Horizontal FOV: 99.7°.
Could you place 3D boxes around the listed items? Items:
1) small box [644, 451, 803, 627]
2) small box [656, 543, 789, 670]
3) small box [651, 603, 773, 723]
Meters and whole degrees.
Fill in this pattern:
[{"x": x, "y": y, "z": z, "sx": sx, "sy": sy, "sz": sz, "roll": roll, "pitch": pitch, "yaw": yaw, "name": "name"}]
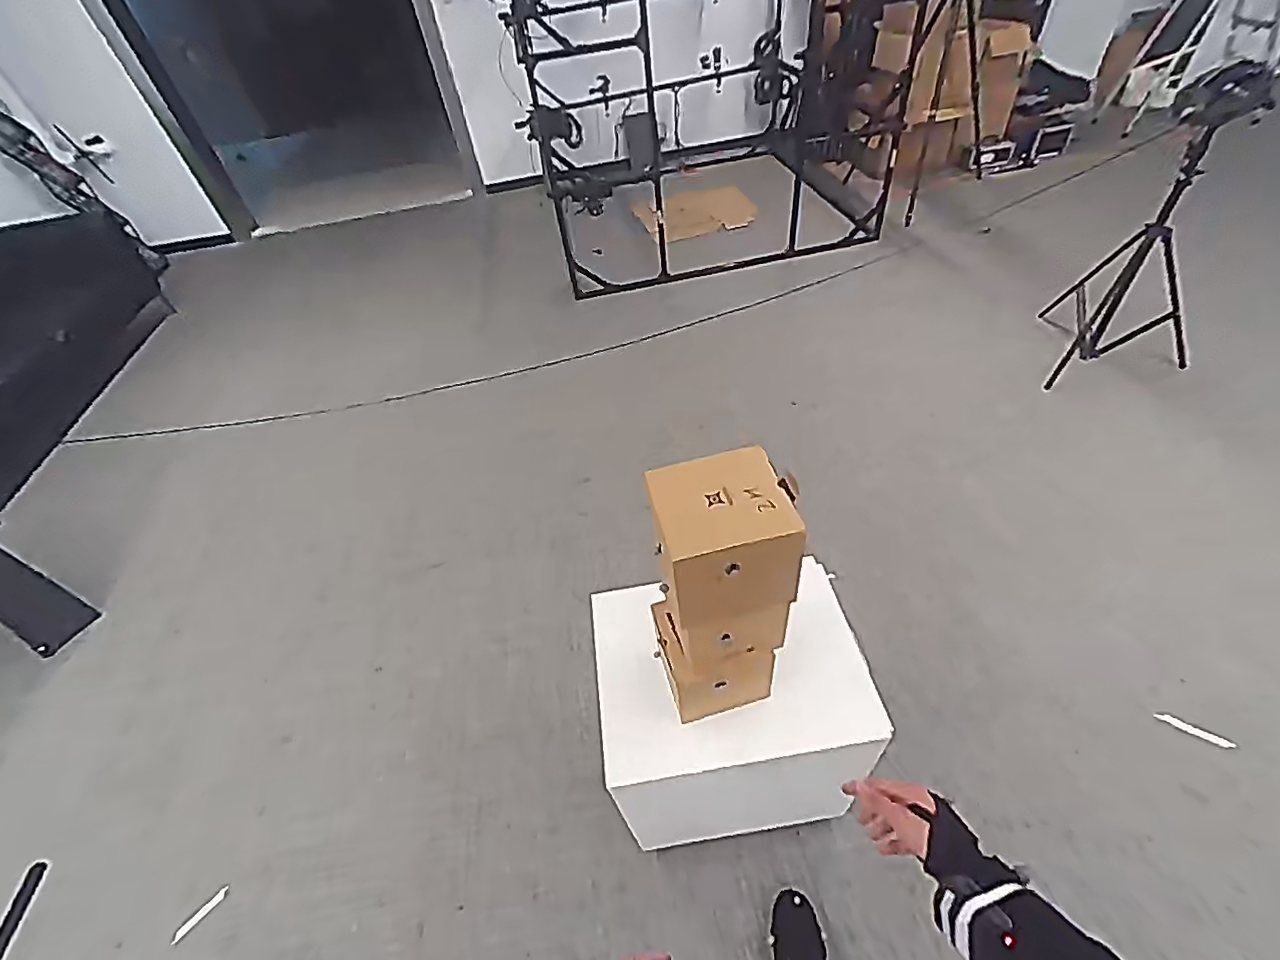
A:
[{"x": 0.115, "y": 0.088, "z": 0.774, "sx": 0.179, "sy": 0.176, "sz": 0.168, "roll": -13, "pitch": 45, "yaw": -3, "name": "small box"}, {"x": 0.134, "y": 0.194, "z": 0.900, "sx": 0.168, "sy": 0.176, "sz": 0.179, "roll": -14, "pitch": 45, "yaw": -5, "name": "small box"}, {"x": 0.131, "y": 0.323, "z": 1.002, "sx": 0.179, "sy": 0.176, "sz": 0.168, "roll": -15, "pitch": 46, "yaw": -6, "name": "small box"}]
